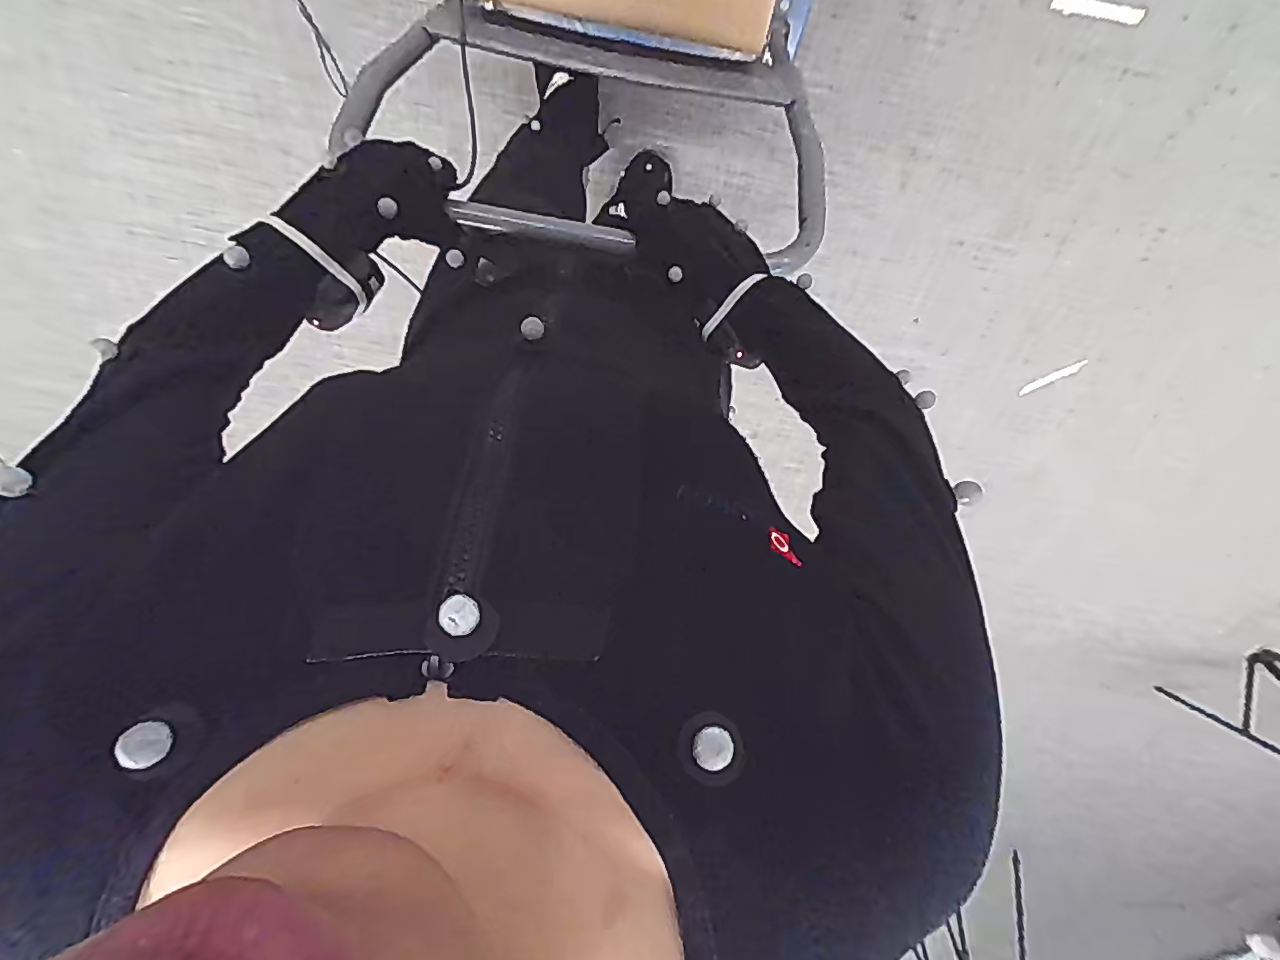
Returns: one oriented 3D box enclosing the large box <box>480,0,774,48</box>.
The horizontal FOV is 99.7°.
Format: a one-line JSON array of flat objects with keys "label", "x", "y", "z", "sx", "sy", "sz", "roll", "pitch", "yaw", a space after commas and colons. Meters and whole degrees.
[{"label": "large box", "x": -0.007, "y": -0.812, "z": 0.698, "sx": 0.408, "sy": 0.320, "sz": 0.320, "roll": 8, "pitch": 139, "yaw": -4}]
